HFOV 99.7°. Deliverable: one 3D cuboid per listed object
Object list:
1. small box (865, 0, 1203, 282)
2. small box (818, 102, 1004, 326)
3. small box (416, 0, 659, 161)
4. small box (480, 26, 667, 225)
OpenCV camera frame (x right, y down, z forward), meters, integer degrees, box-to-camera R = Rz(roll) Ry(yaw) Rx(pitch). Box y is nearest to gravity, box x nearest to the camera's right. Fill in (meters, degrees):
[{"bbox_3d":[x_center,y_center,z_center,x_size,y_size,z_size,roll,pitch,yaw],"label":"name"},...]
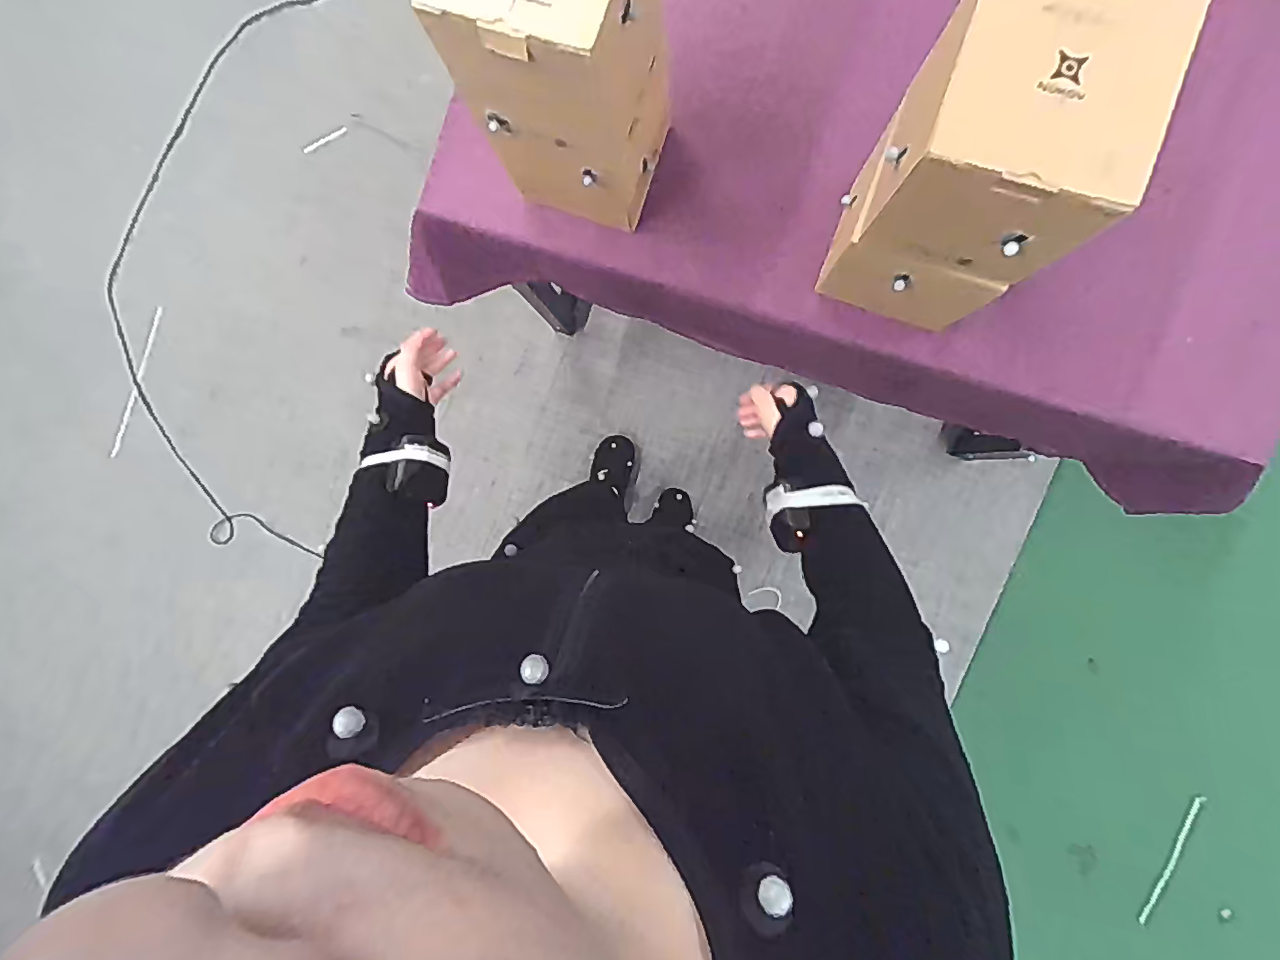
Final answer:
[{"bbox_3d":[0.332,-0.309,0.500,0.168,0.176,0.179,19,92,3],"label":"small box"},{"bbox_3d":[0.341,-0.307,0.663,0.179,0.176,0.168,21,93,3],"label":"small box"},{"bbox_3d":[-0.081,-0.455,0.526,0.168,0.176,0.179,19,91,2],"label":"small box"},{"bbox_3d":[-0.073,-0.457,0.690,0.179,0.176,0.168,19,92,2],"label":"small box"}]
